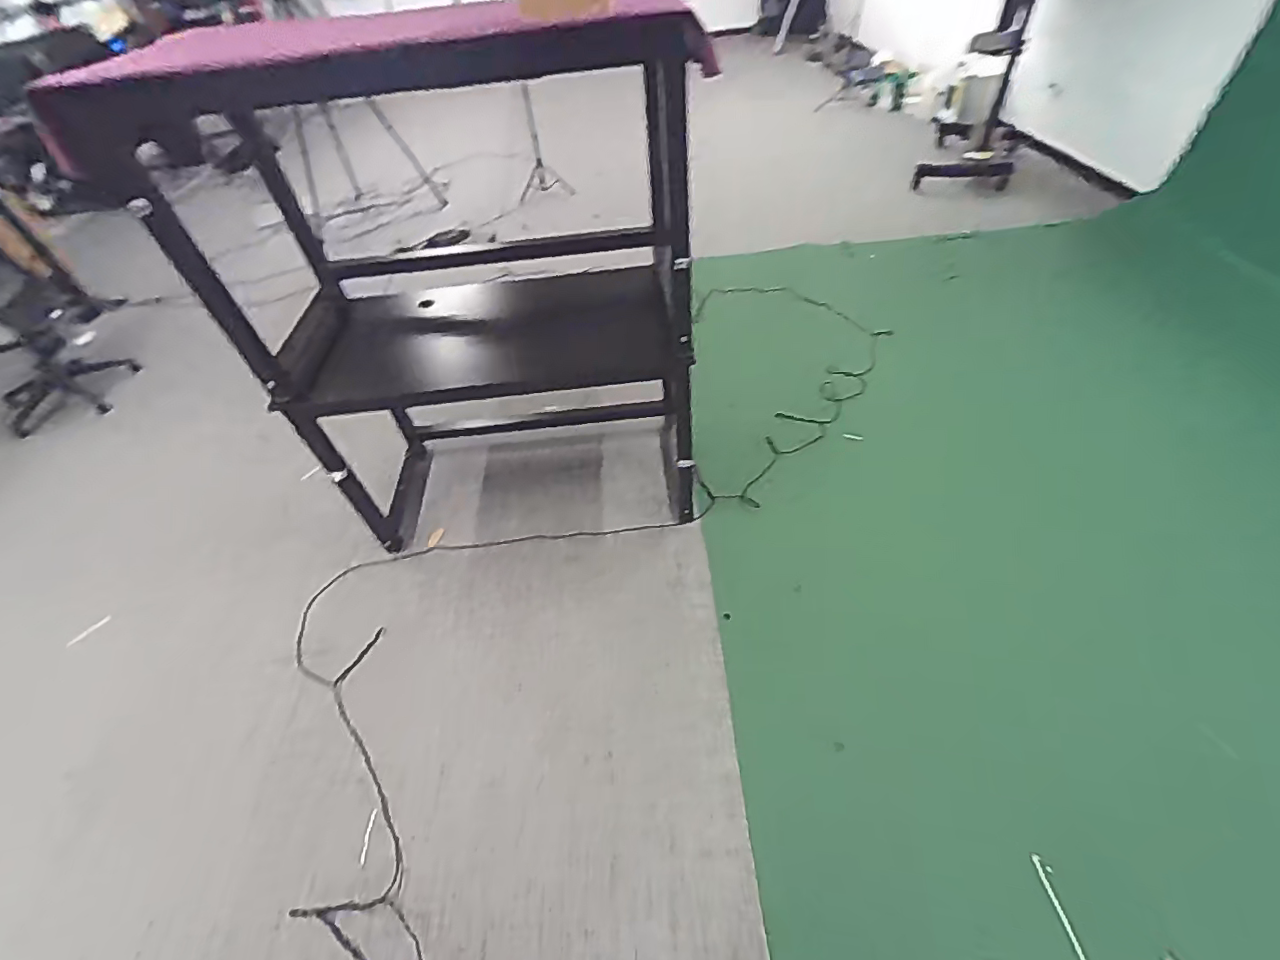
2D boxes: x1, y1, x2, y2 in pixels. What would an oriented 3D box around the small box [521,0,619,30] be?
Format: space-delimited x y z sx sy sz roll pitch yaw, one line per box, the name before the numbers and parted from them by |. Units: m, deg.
small box | -0.139 -0.973 1.019 0.179 0.176 0.168 -4 46 4
